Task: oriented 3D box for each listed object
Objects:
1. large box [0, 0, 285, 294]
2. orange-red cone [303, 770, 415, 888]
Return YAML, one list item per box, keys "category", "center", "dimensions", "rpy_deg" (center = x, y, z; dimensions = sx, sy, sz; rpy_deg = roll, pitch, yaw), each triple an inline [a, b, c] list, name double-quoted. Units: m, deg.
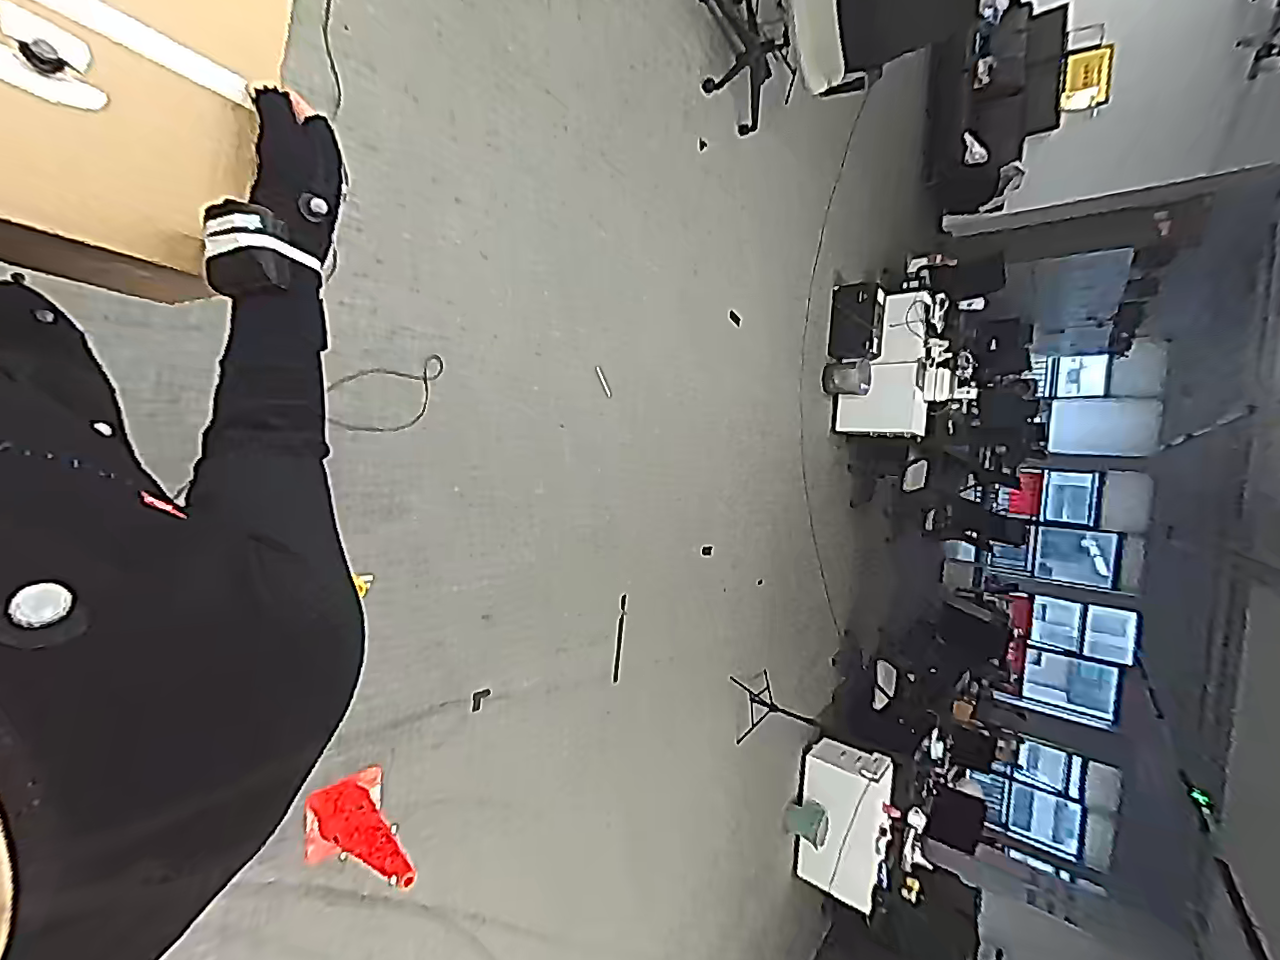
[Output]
- category: "large box"
  center: [-0.564, -0.366, 0.413]
  dimensions: [0.408, 0.320, 0.320]
  rpy_deg: [6, 94, -52]
- category: "orange-red cone"
  center: [-0.696, 0.948, 1.403]
  dimensions: [0.198, 0.360, 0.199]
  rpy_deg: [-2, 94, -52]
